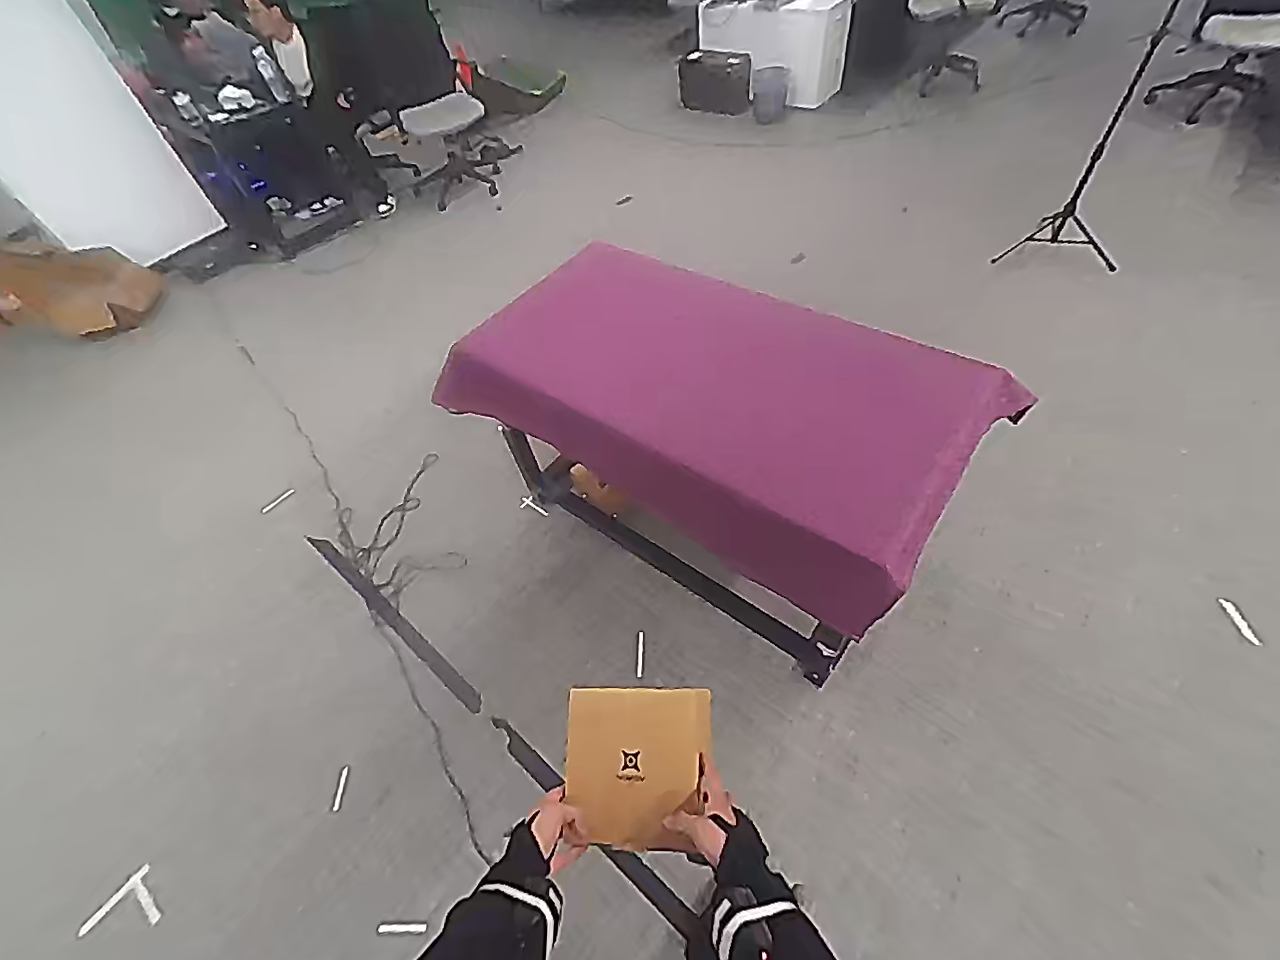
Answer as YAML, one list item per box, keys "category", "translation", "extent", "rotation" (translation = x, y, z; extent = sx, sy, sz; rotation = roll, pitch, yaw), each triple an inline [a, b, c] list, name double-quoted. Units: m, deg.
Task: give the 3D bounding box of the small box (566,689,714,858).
- category: "small box"
  translation: [0.010, 0.378, 0.729]
  extent: [0.168, 0.176, 0.179]
  rotation: [-4, 69, 12]
